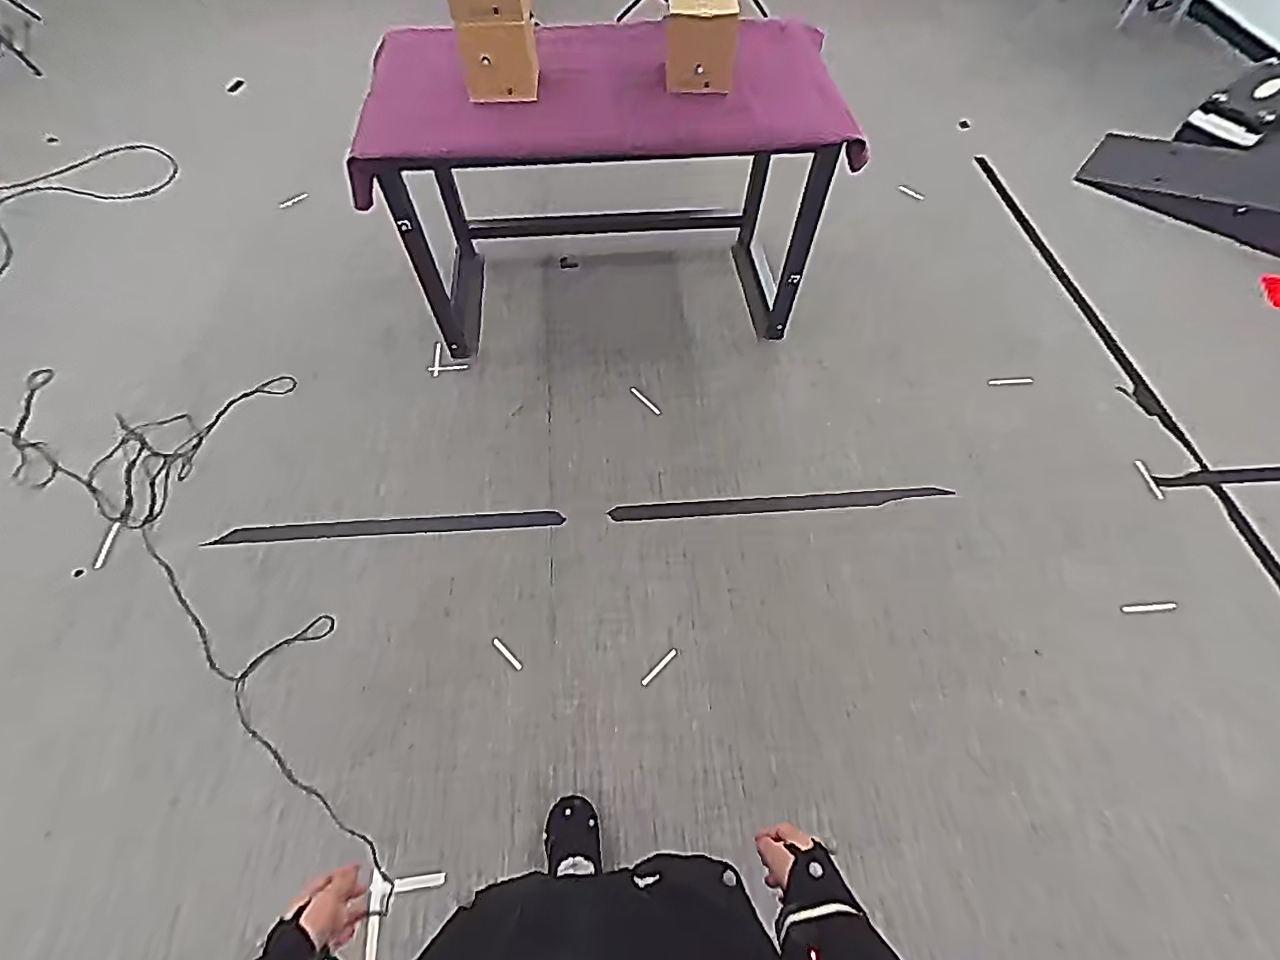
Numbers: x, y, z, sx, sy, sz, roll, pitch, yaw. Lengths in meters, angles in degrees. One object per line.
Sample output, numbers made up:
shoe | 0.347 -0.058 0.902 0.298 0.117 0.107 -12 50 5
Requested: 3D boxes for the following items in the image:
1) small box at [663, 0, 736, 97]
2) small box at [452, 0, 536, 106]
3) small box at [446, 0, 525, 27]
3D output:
small box | 0.145 -1.112 1.378 0.168 0.176 0.179 0 60 1
small box | -0.355 -1.063 1.348 0.168 0.176 0.179 -3 60 -2
small box | -0.355 -1.150 1.209 0.168 0.176 0.179 -4 59 -2
